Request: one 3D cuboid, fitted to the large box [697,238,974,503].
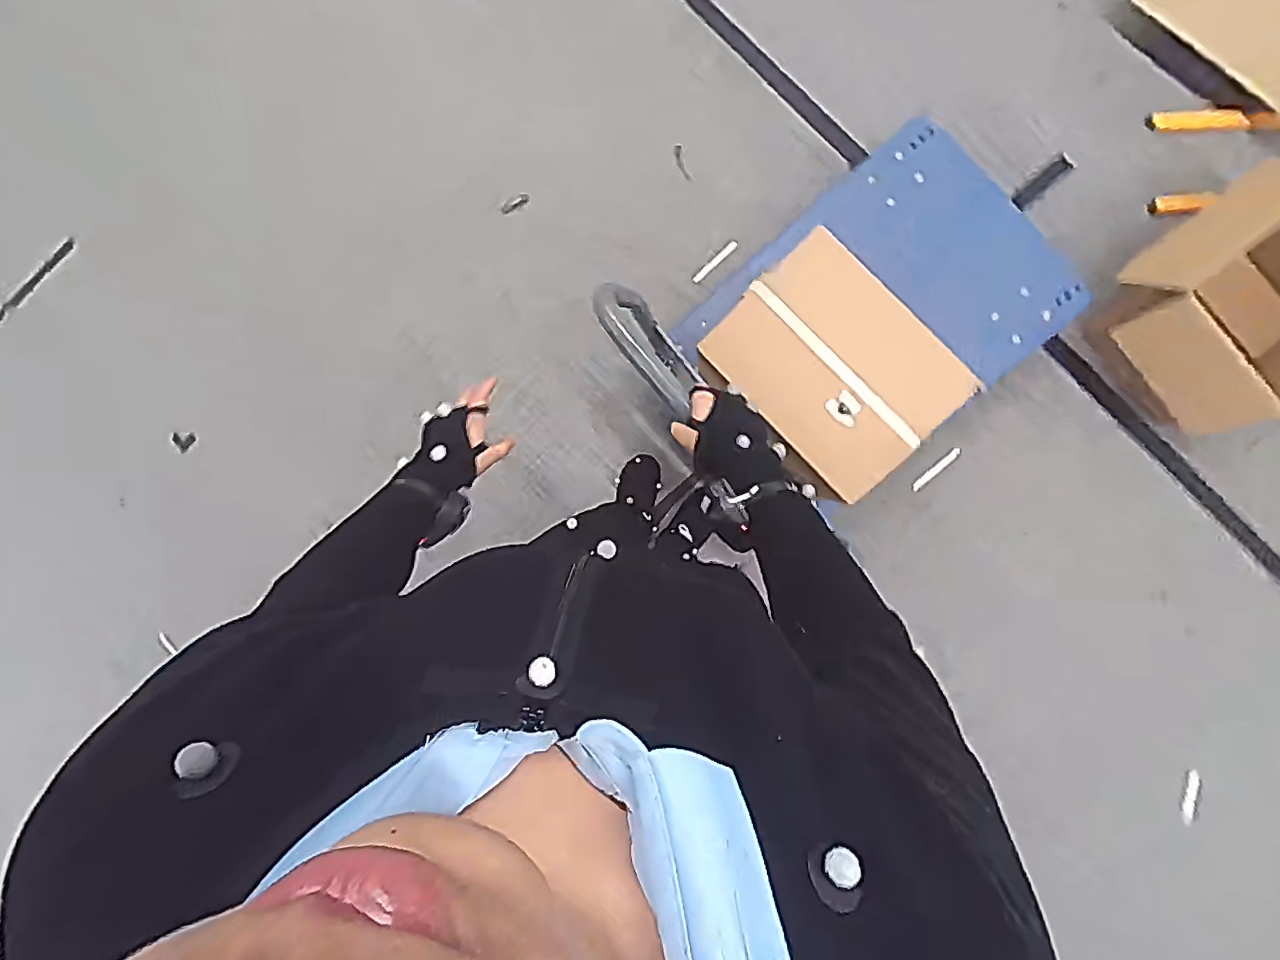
[{"bbox_3d":[0.365,-0.203,1.132,0.320,0.320,0.408,-44,87,5],"label":"large box"}]
